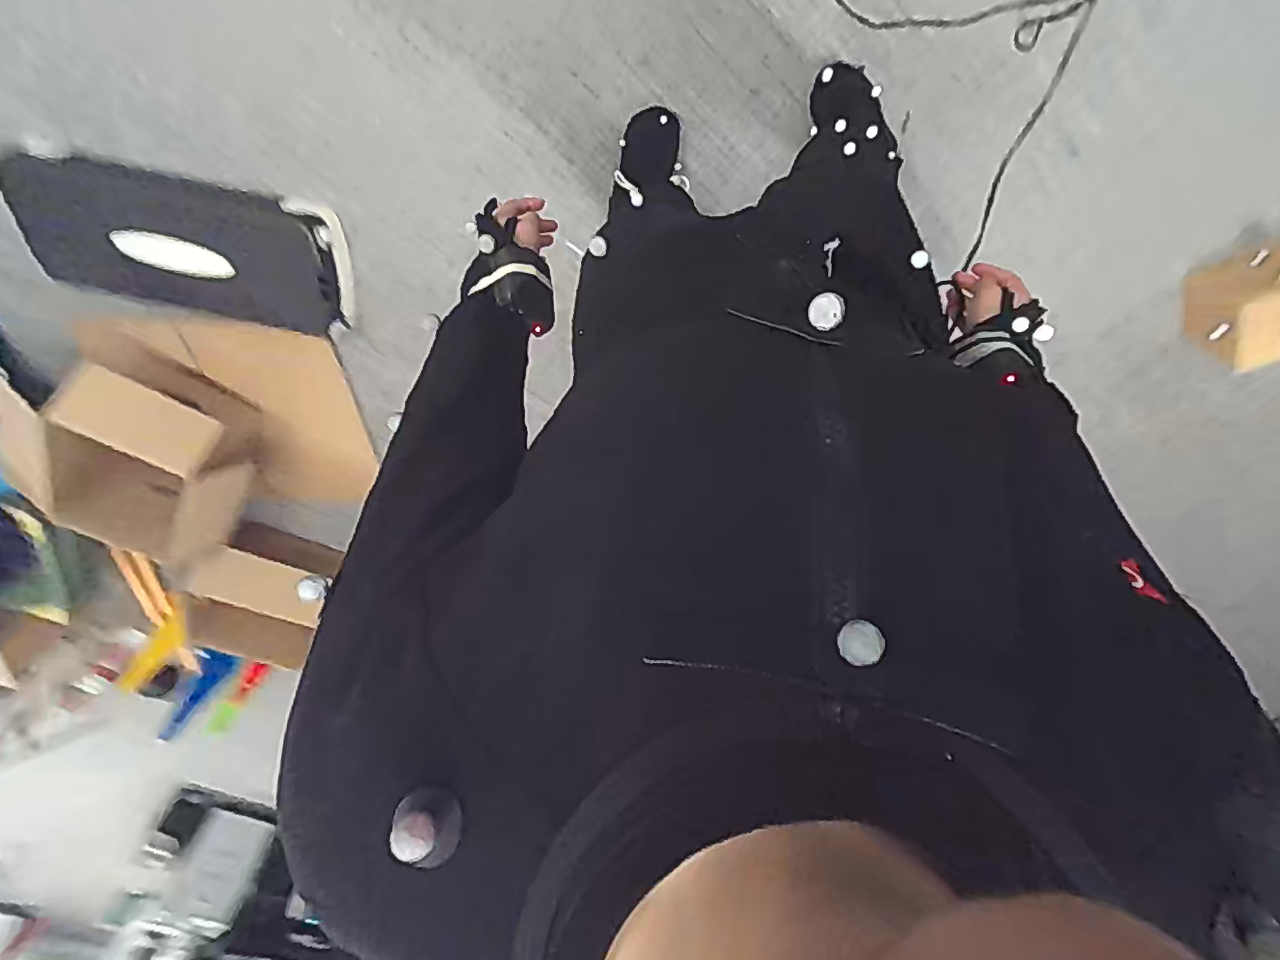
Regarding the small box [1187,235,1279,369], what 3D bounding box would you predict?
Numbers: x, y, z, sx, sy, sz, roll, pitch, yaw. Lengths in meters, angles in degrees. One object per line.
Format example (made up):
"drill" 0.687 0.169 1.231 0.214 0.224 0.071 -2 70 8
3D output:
"small box" 1.283 -0.368 1.113 0.168 0.176 0.179 -23 123 22
